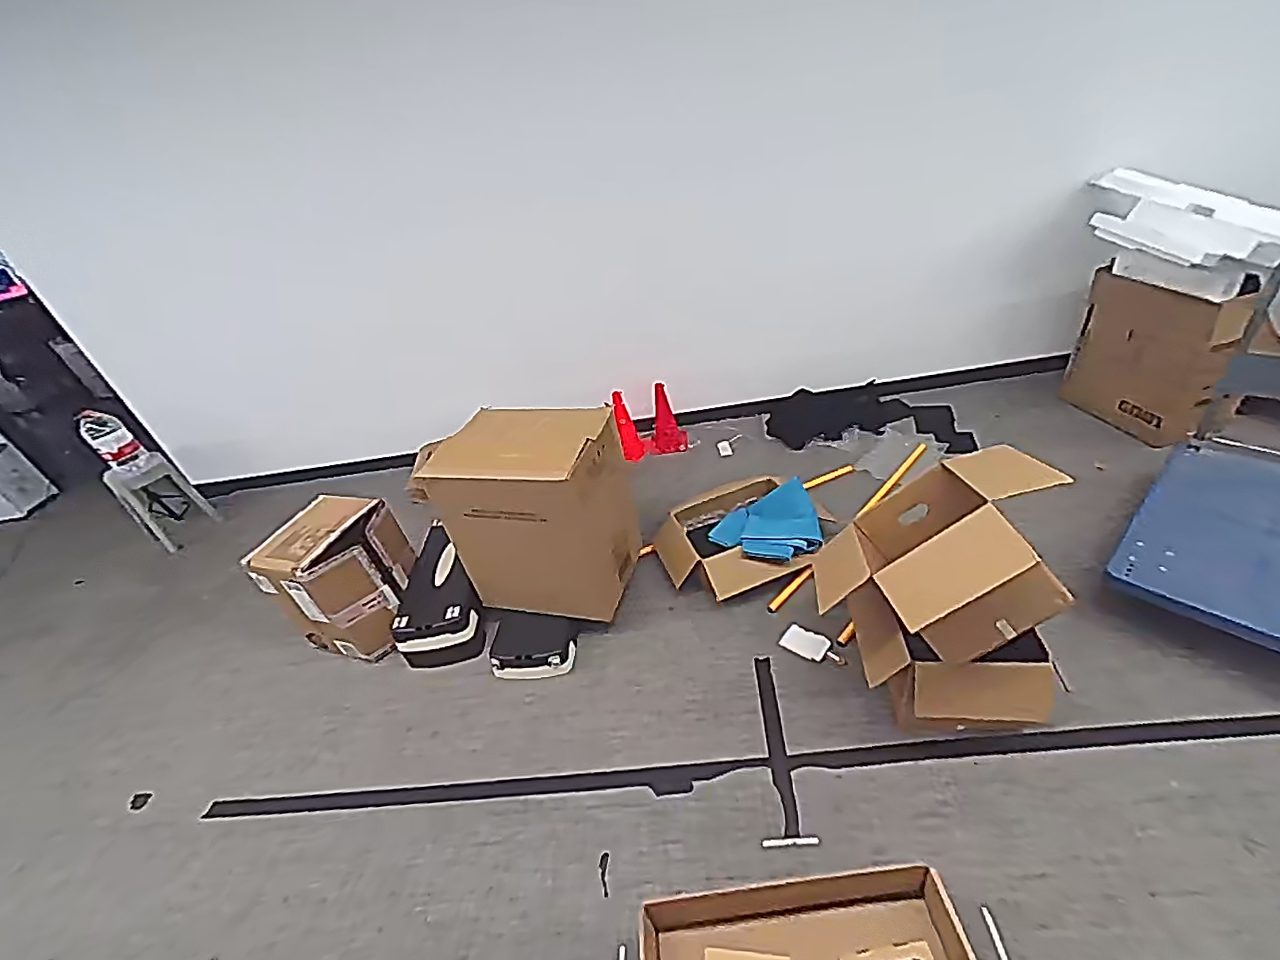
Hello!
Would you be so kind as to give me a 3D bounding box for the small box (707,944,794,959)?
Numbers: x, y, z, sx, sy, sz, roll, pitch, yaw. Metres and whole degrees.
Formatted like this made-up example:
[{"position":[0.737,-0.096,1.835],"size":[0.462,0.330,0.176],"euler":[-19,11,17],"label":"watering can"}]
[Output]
[{"position":[0.208,1.004,1.001],"size":[0.168,0.176,0.179],"euler":[-3,36,11],"label":"small box"}]
